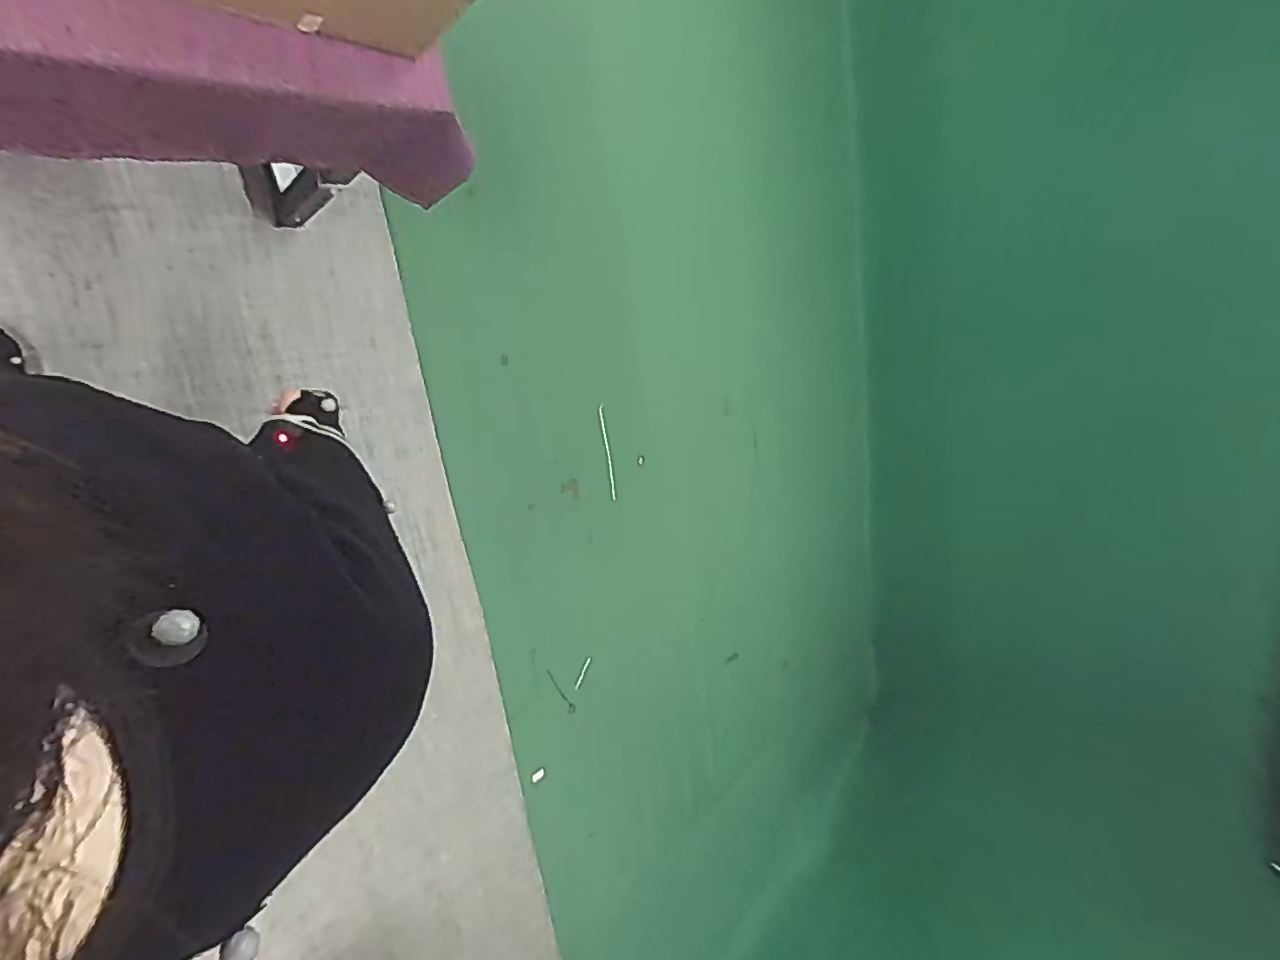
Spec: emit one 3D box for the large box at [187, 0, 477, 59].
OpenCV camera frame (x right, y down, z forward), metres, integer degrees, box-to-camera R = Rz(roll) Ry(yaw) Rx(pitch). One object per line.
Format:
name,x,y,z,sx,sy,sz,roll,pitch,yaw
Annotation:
large box,-0.349,-0.751,0.540,0.320,0.320,0.408,-23,110,-43
